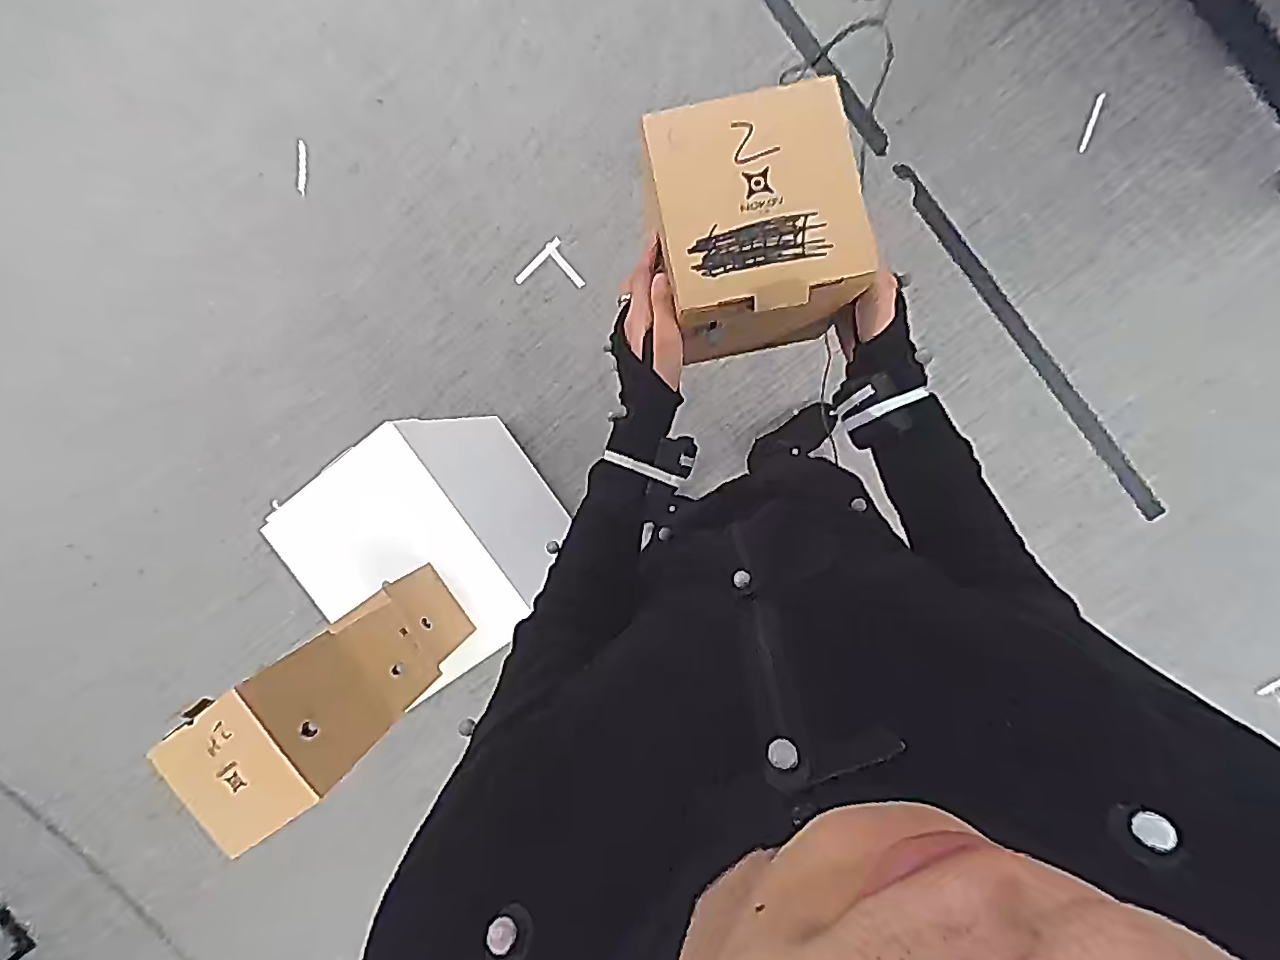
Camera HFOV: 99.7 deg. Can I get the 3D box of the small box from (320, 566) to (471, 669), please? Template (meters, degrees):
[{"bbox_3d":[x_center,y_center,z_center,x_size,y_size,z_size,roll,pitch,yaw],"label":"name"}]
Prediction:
[{"bbox_3d":[-0.467,0.296,1.062,0.168,0.176,0.179,-34,91,10],"label":"small box"}]

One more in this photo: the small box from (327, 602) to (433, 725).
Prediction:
[{"bbox_3d":[-0.476,0.332,0.903,0.179,0.176,0.168,-33,93,11],"label":"small box"}]

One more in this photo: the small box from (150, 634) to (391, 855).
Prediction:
[{"bbox_3d":[-0.485,0.347,0.739,0.168,0.176,0.179,-35,92,10],"label":"small box"}]
